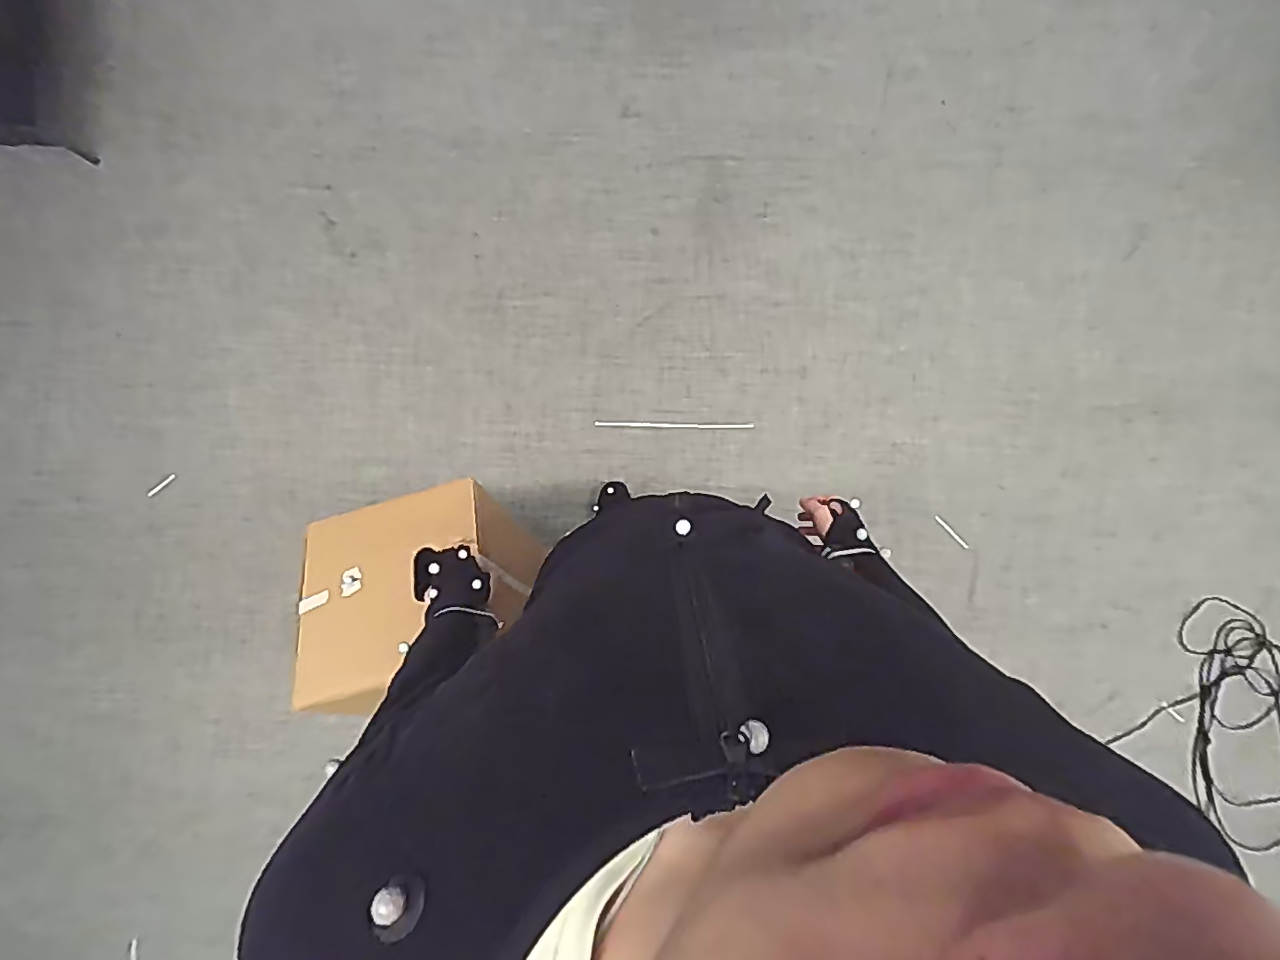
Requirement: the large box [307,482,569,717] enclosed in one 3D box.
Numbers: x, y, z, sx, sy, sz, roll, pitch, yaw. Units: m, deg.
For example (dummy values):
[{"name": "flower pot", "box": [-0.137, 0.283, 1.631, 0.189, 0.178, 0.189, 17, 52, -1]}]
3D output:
[{"name": "large box", "box": [-0.363, 0.254, 1.043, 0.320, 0.408, 0.320, -16, 62, 3]}]
